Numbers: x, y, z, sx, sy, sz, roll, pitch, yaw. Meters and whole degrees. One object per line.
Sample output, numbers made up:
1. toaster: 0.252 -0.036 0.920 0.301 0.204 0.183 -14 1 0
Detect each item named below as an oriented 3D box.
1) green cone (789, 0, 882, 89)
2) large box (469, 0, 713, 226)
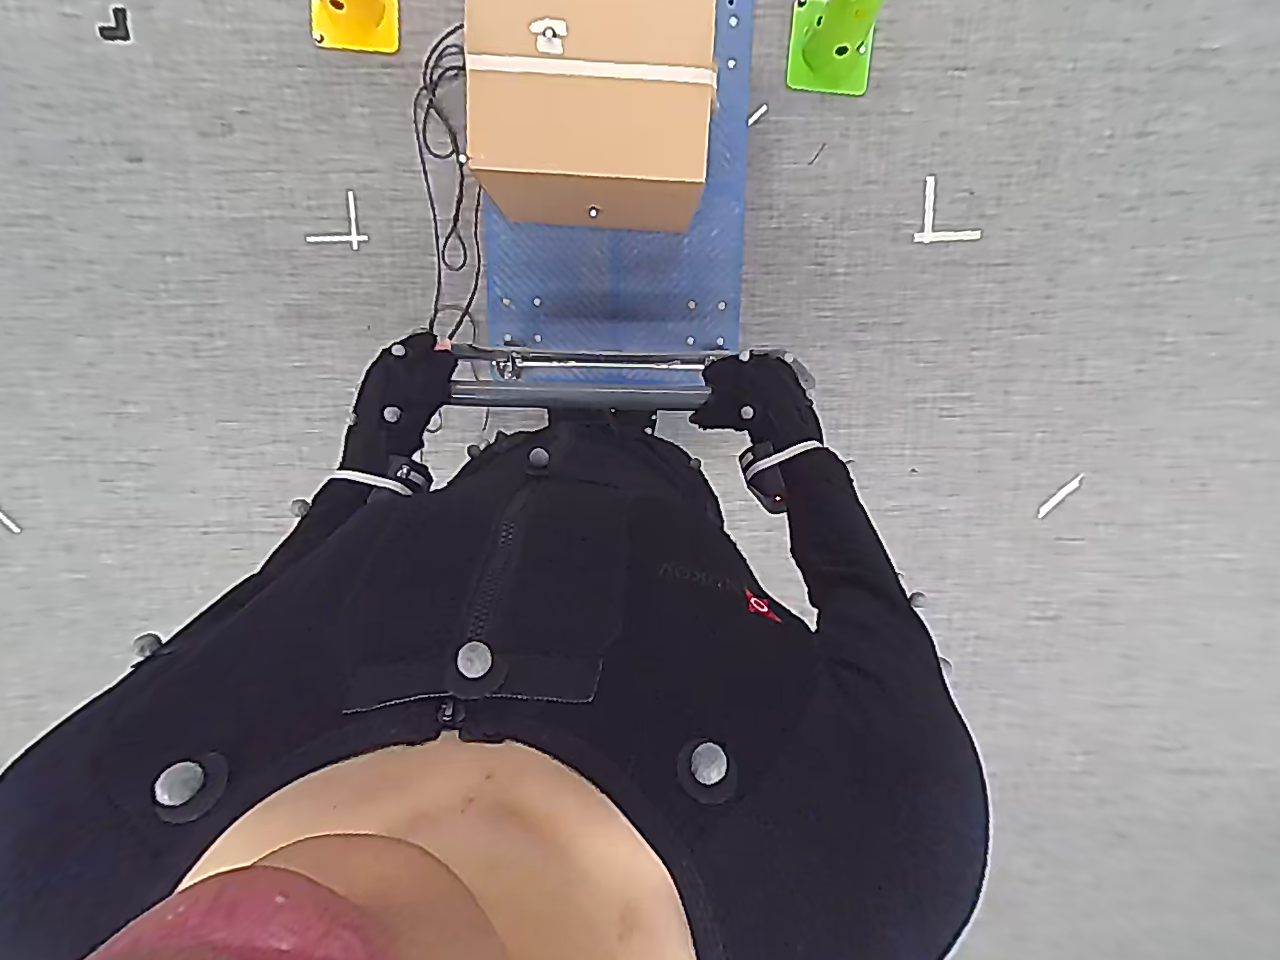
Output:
1. green cone: 0.472 -1.031 1.136 0.202 0.368 0.200 3 100 -3
2. large box: -0.082 -0.694 1.038 0.408 0.320 0.320 2 100 -1
